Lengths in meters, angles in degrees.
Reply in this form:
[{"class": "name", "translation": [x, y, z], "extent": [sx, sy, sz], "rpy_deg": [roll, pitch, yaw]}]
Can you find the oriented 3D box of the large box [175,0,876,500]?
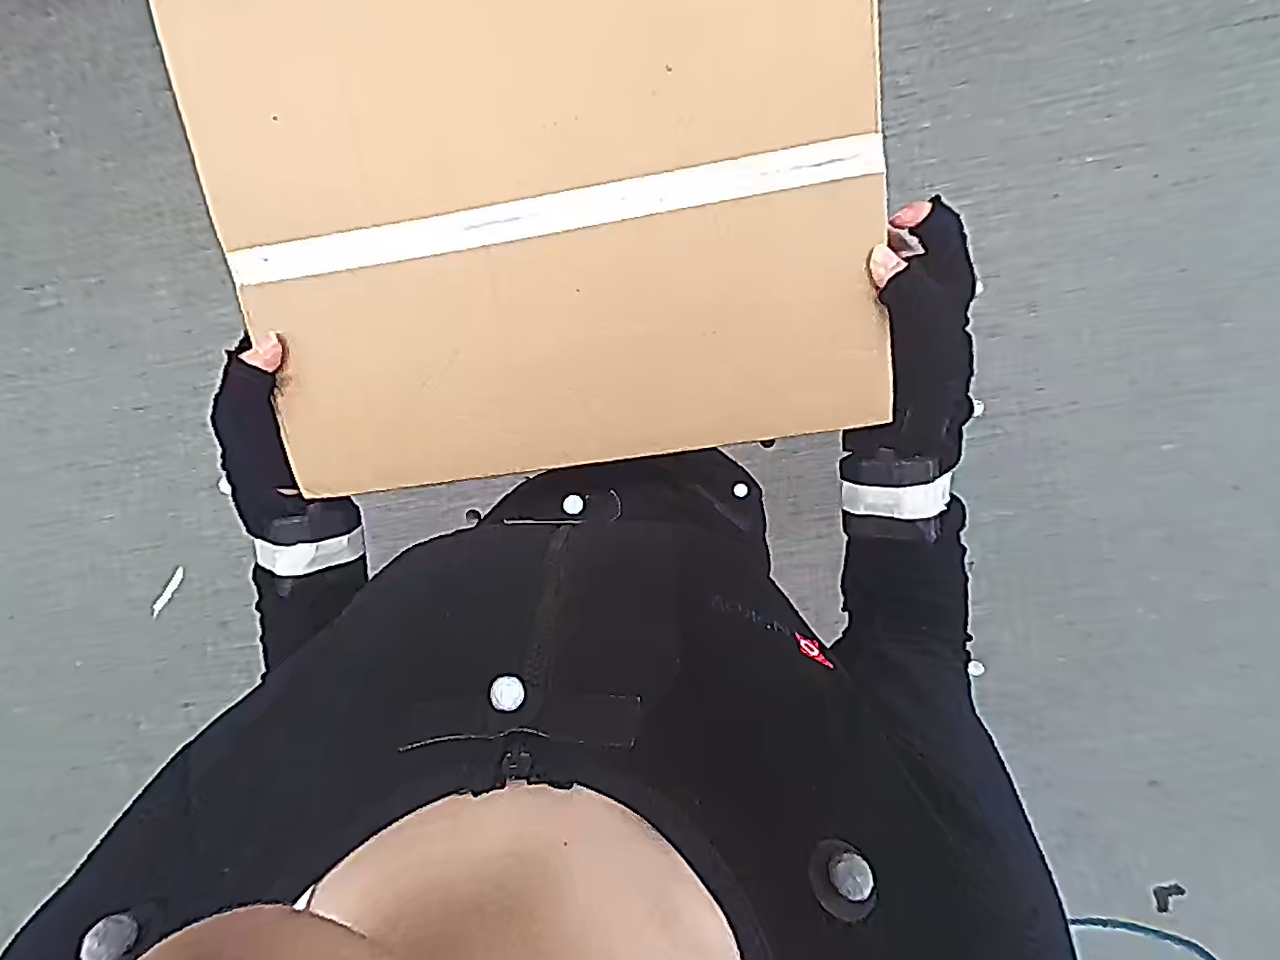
[{"class": "large box", "translation": [-0.051, -0.197, 0.483], "extent": [0.408, 0.320, 0.320], "rpy_deg": [-7, 103, 6]}]
